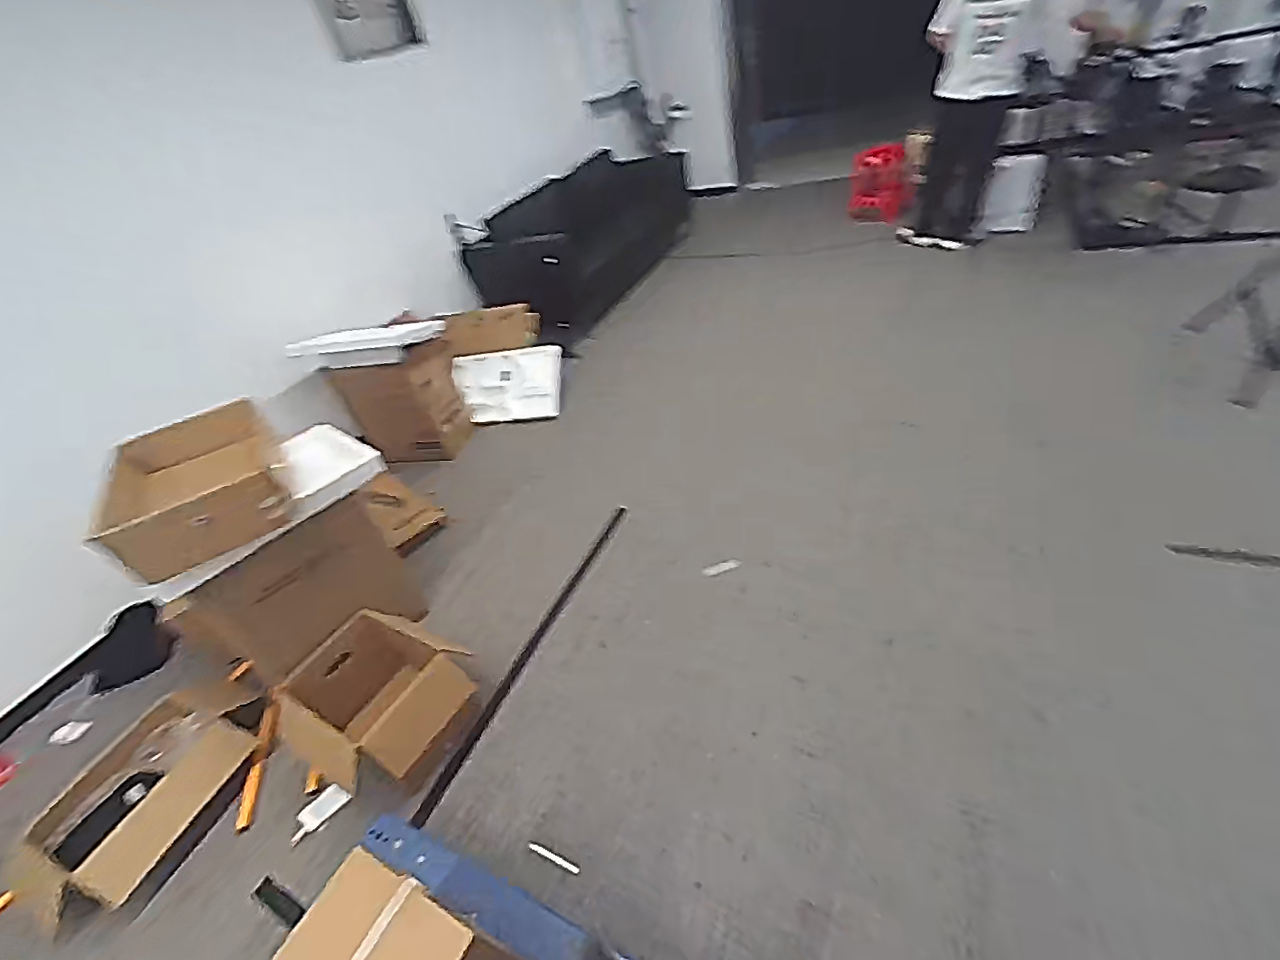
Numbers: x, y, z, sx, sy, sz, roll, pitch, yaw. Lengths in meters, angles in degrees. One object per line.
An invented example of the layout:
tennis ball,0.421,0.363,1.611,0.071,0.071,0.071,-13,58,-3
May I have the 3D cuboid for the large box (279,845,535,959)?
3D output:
large box,-0.447,0.946,0.923,0.320,0.320,0.408,8,45,29
